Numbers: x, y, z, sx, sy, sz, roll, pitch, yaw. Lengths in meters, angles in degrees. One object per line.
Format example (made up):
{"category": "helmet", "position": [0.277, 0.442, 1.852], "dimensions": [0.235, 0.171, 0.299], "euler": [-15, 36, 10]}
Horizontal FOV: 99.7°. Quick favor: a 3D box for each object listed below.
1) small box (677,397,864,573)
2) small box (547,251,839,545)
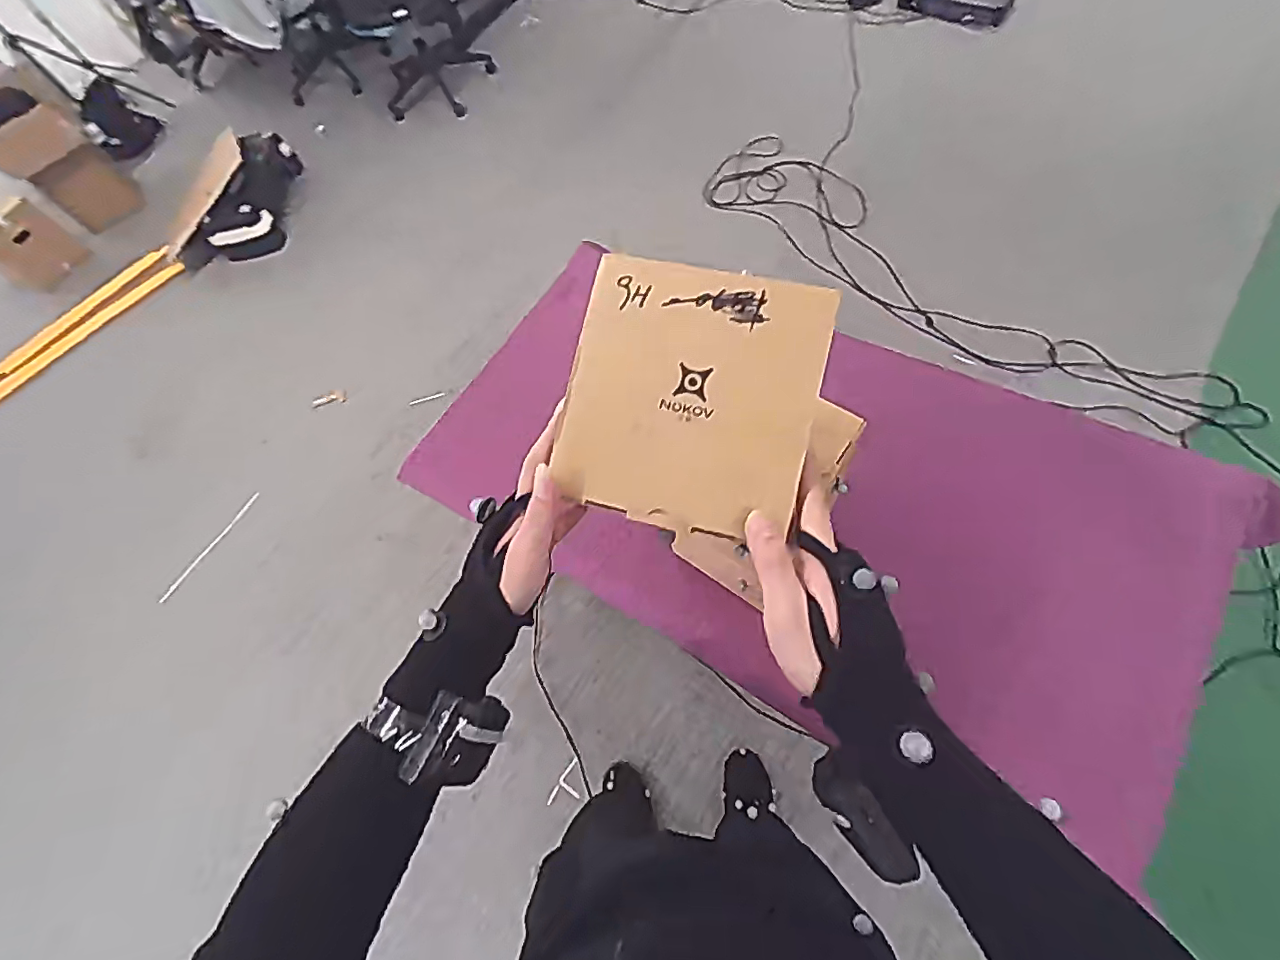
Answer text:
{"category": "small box", "position": [0.132, -0.007, 0.644], "dimensions": [0.179, 0.176, 0.168], "euler": [32, 74, 23]}
{"category": "small box", "position": [0.046, -0.053, 0.442], "dimensions": [0.168, 0.176, 0.179], "euler": [14, 87, 10]}
